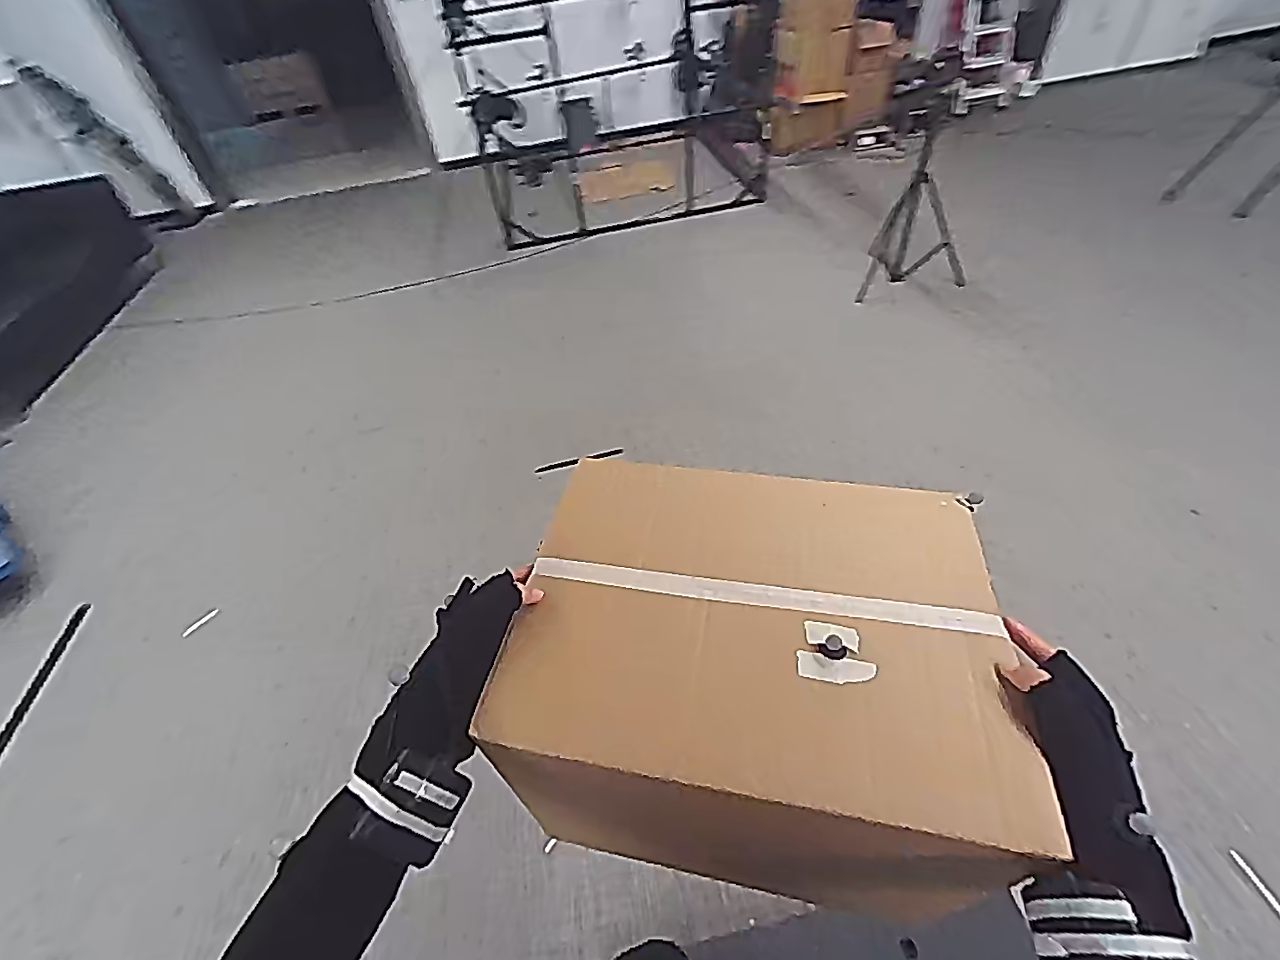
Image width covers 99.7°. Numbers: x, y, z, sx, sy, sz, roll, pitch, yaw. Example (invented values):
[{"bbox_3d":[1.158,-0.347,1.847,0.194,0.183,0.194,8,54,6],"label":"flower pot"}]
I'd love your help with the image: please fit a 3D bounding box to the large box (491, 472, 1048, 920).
[{"bbox_3d":[0.112,0.220,0.592,0.408,0.320,0.320,7,46,12],"label":"large box"}]
